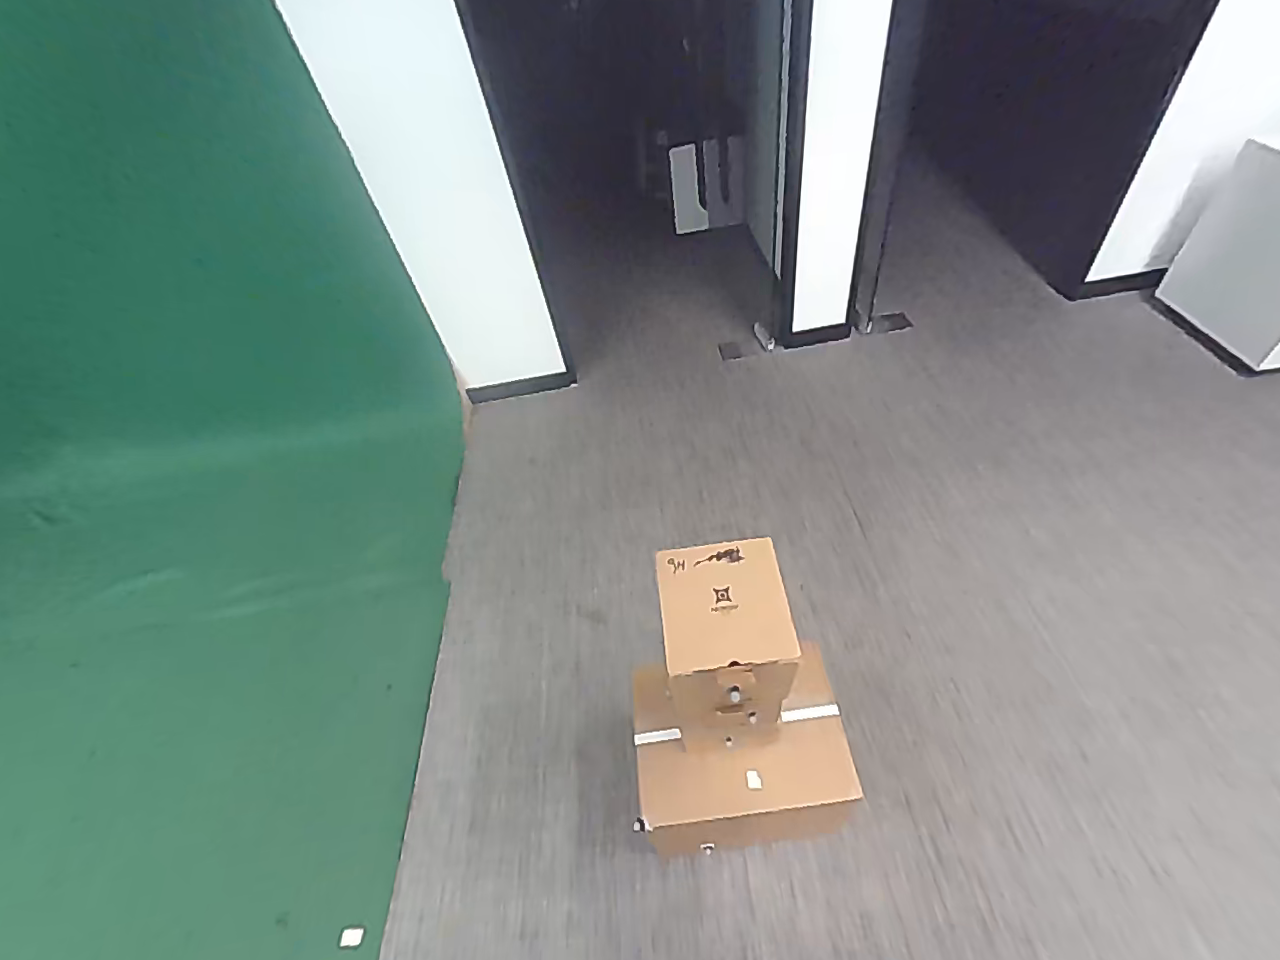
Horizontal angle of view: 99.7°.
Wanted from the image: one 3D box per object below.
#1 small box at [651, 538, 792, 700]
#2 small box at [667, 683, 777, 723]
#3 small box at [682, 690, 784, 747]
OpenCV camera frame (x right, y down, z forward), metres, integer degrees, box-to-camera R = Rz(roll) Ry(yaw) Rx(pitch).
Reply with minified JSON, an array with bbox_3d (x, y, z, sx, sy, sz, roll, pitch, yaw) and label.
[{"bbox_3d":[0.113,0.207,0.779,0.168,0.176,0.179,-8,54,3],"label":"small box"},{"bbox_3d":[0.130,0.301,0.912,0.168,0.176,0.179,-7,52,3],"label":"small box"},{"bbox_3d":[0.161,0.400,1.036,0.179,0.176,0.168,-10,54,2],"label":"small box"}]
